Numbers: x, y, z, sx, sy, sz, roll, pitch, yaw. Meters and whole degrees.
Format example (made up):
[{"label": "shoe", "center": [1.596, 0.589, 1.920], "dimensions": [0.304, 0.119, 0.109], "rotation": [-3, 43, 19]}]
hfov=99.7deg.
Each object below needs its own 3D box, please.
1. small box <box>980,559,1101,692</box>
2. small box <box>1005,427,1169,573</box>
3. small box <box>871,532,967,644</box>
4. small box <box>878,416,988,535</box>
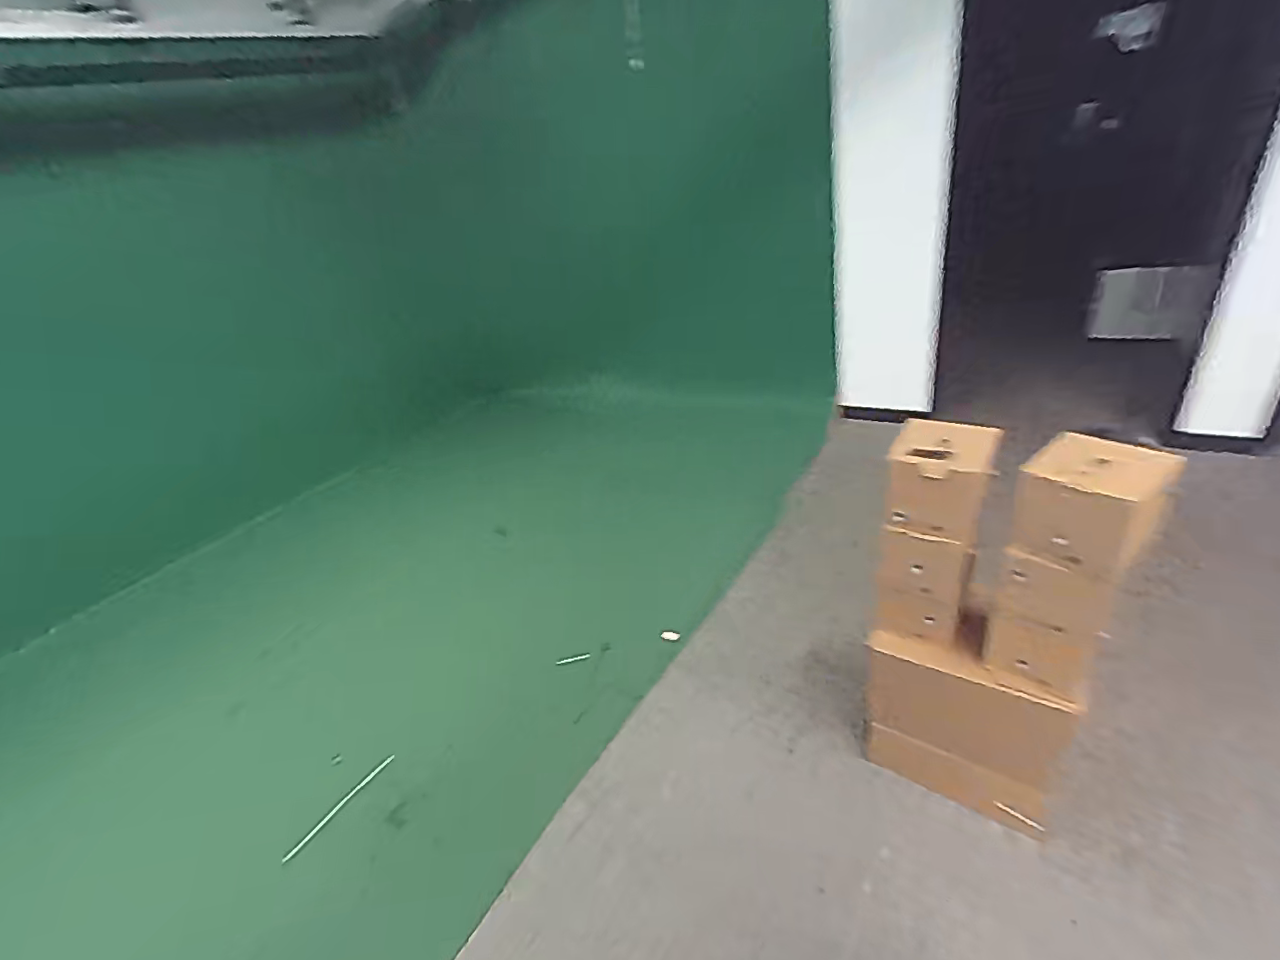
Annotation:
[{"label": "small box", "center": [0.839, 0.304, 1.144], "dimensions": [0.168, 0.176, 0.179], "rotation": [16, 42, 41]}, {"label": "small box", "center": [0.785, 0.032, 0.967], "dimensions": [0.179, 0.176, 0.168], "rotation": [-29, 33, -24]}, {"label": "small box", "center": [0.663, 0.258, 1.293], "dimensions": [0.168, 0.176, 0.179], "rotation": [15, 41, 35]}, {"label": "small box", "center": [0.599, -0.011, 1.115], "dimensions": [0.168, 0.176, 0.179], "rotation": [13, 40, 34]}]
